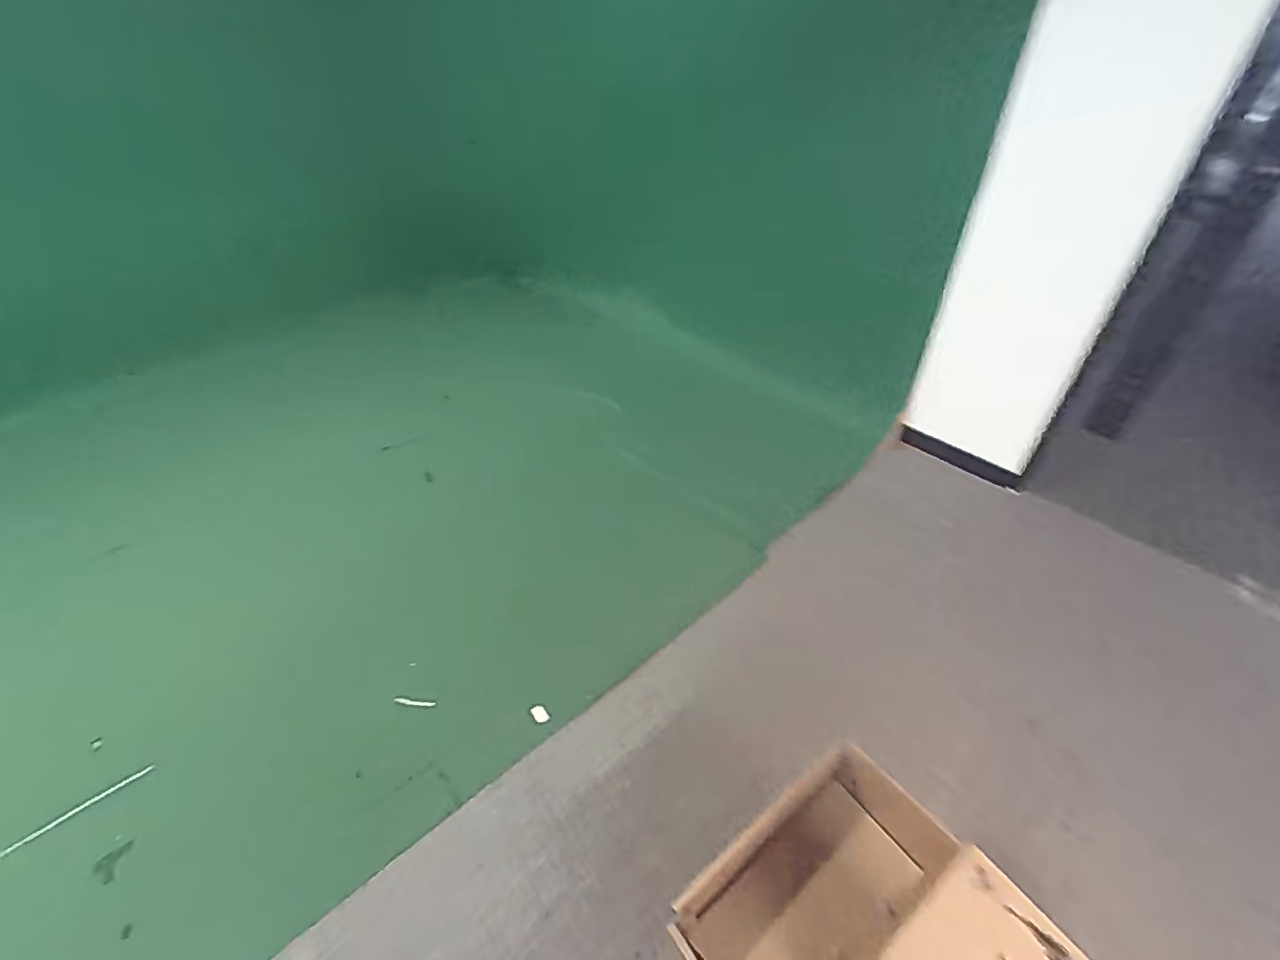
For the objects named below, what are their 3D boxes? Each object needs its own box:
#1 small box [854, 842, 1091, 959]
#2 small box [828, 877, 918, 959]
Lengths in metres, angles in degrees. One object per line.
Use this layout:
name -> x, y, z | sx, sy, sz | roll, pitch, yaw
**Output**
small box -> 0.362, 0.553, 0.596 | 0.179, 0.176, 0.168 | -27, 50, -24
small box -> 0.356, 0.675, 0.705 | 0.179, 0.176, 0.168 | -25, 49, -25
